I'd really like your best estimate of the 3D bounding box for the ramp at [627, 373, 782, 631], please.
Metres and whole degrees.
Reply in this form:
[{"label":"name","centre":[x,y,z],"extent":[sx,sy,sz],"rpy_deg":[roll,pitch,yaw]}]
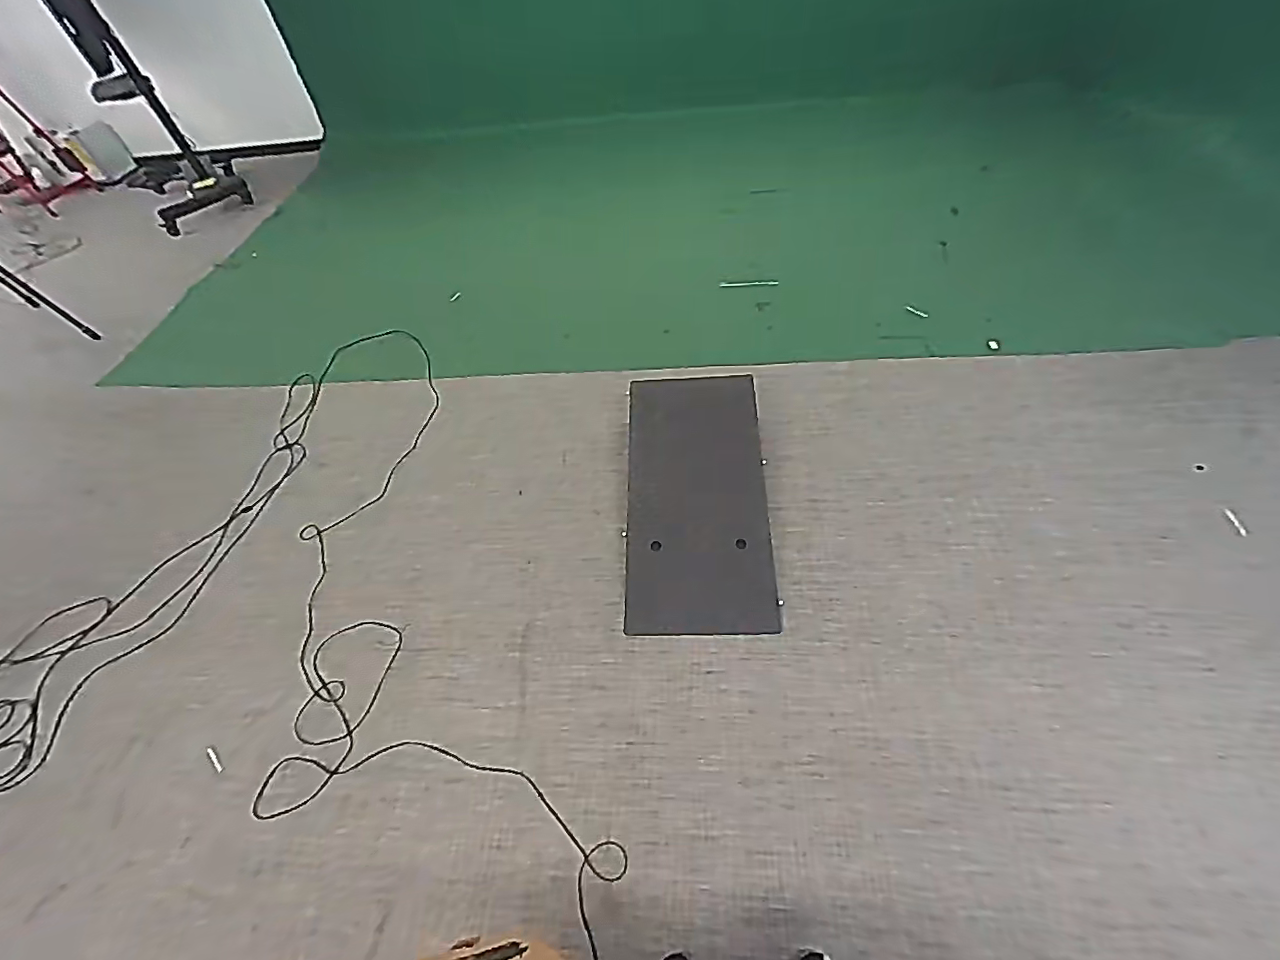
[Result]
[{"label":"ramp","centre":[0.207,0.028,1.914],"extent":[0.509,0.206,0.991],"rpy_deg":[-3,52,3]}]
